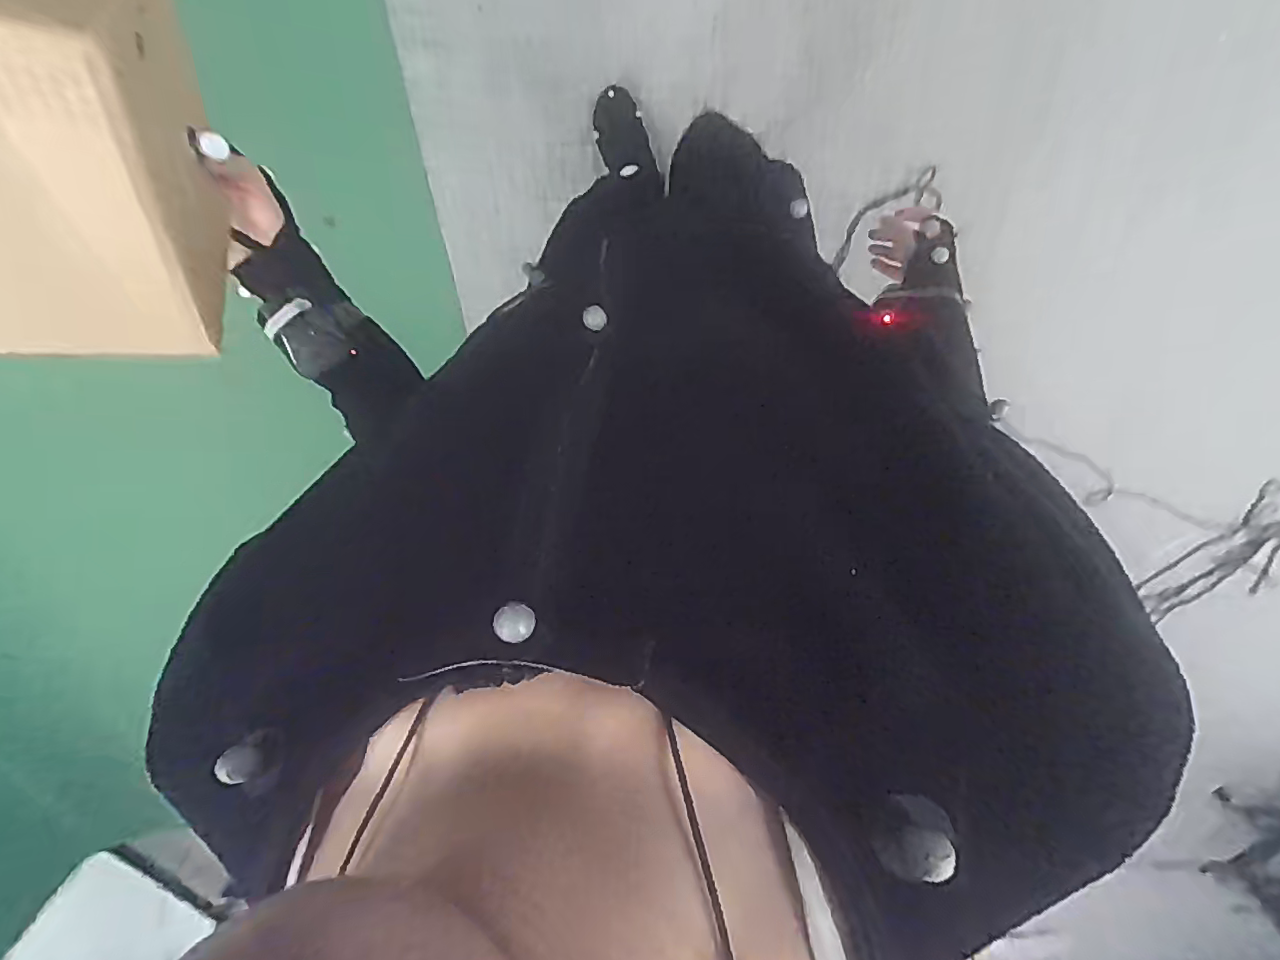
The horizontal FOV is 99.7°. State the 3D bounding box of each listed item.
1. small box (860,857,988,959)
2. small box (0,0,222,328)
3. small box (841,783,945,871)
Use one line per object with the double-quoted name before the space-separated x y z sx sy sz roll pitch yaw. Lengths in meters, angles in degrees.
"small box" 0.611 0.949 1.176 0.179 0.176 0.168 -31 119 23
"small box" -0.326 -0.194 0.255 0.179 0.168 0.176 -5 147 -28
"small box" 0.614 0.865 1.319 0.179 0.176 0.168 -21 122 16
